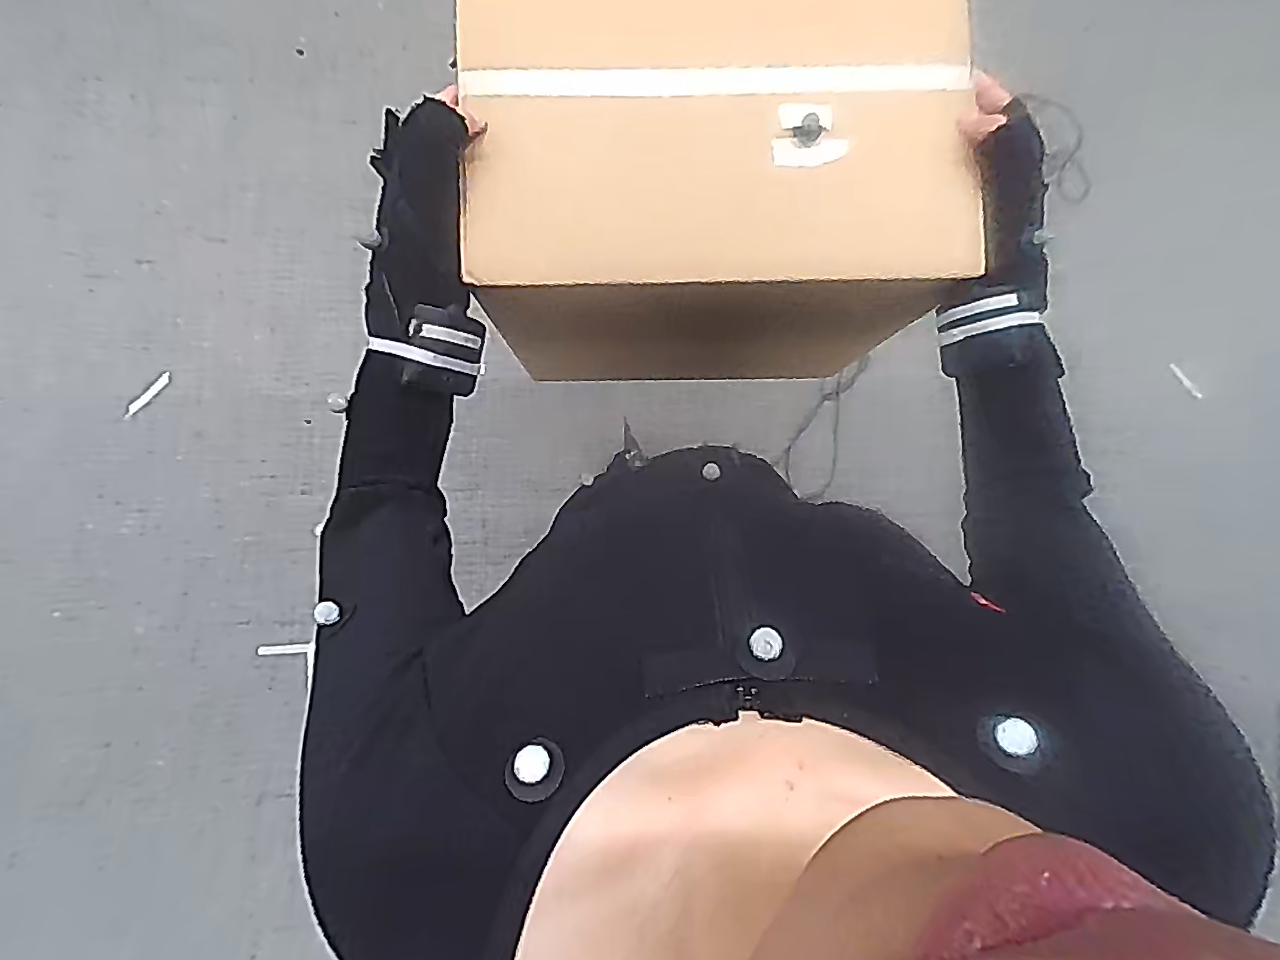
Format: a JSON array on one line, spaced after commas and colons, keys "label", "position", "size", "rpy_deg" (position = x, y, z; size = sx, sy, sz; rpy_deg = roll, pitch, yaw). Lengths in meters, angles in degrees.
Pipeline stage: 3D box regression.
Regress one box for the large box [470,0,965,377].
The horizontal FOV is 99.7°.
[{"label": "large box", "position": [0.056, -0.307, 0.592], "size": [0.408, 0.320, 0.320], "rpy_deg": [-1, 86, -2]}]
